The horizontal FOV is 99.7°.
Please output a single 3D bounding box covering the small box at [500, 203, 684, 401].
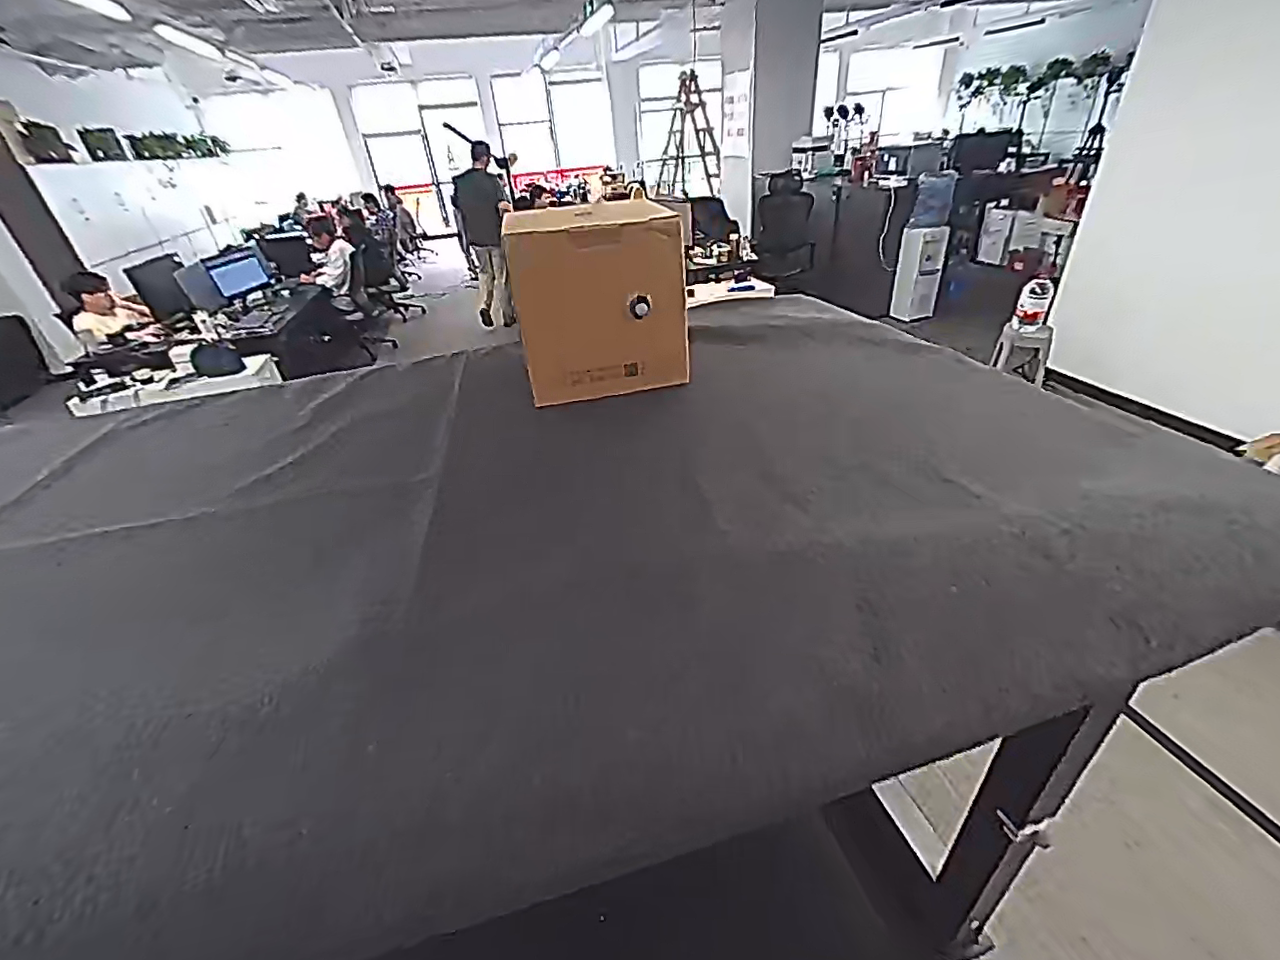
[{"bbox_3d":[-0.051,-0.193,0.590,0.168,0.176,0.179,-9,32,-8],"label":"small box"}]
